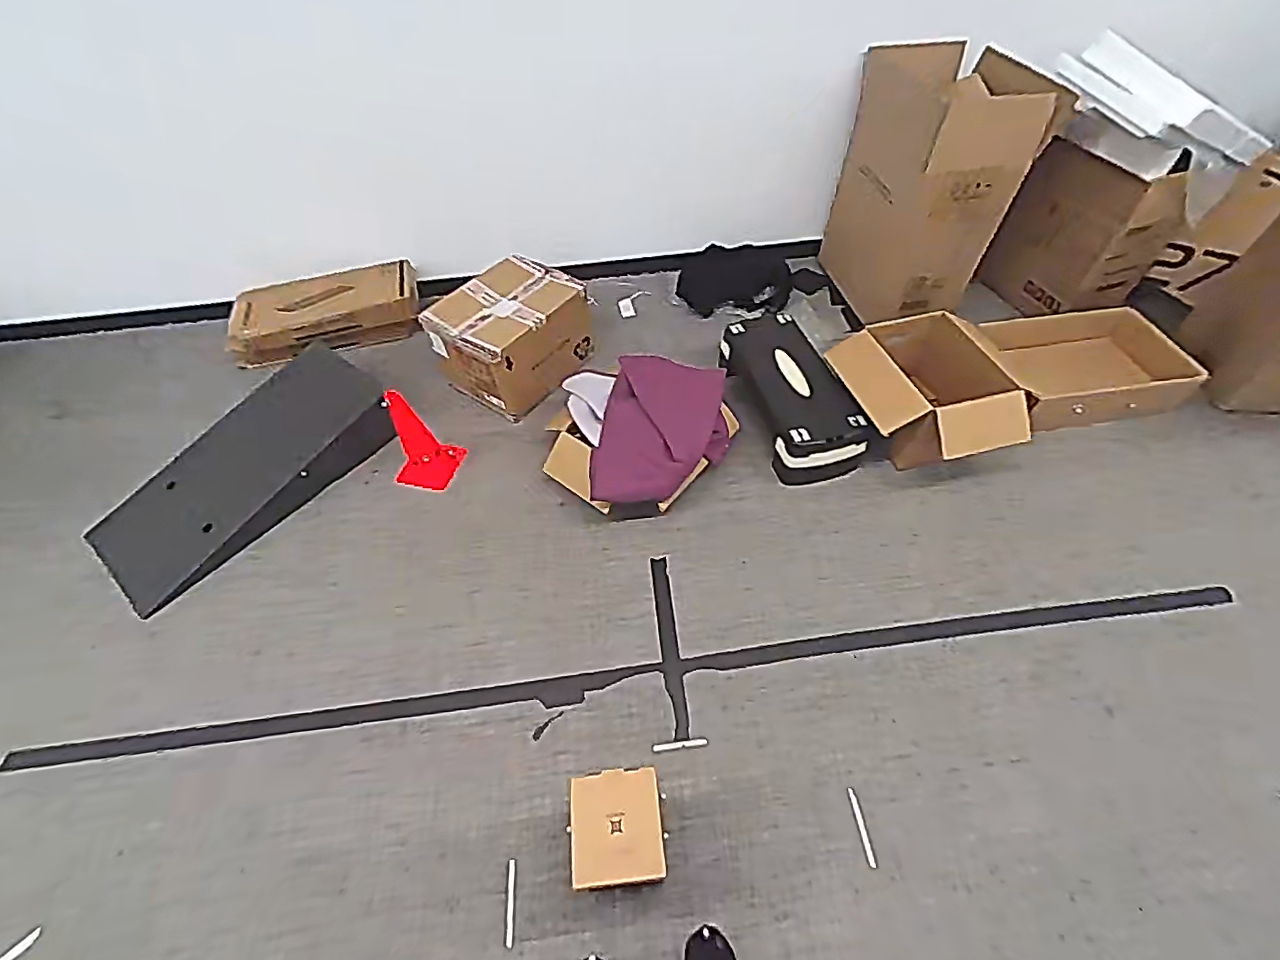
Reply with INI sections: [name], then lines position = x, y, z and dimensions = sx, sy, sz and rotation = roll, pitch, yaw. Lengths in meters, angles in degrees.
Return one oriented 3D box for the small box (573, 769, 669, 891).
[small box]
position = -0.036, 0.681, 1.050
dimensions = 0.168, 0.176, 0.179
rotation = -7, 54, -1
